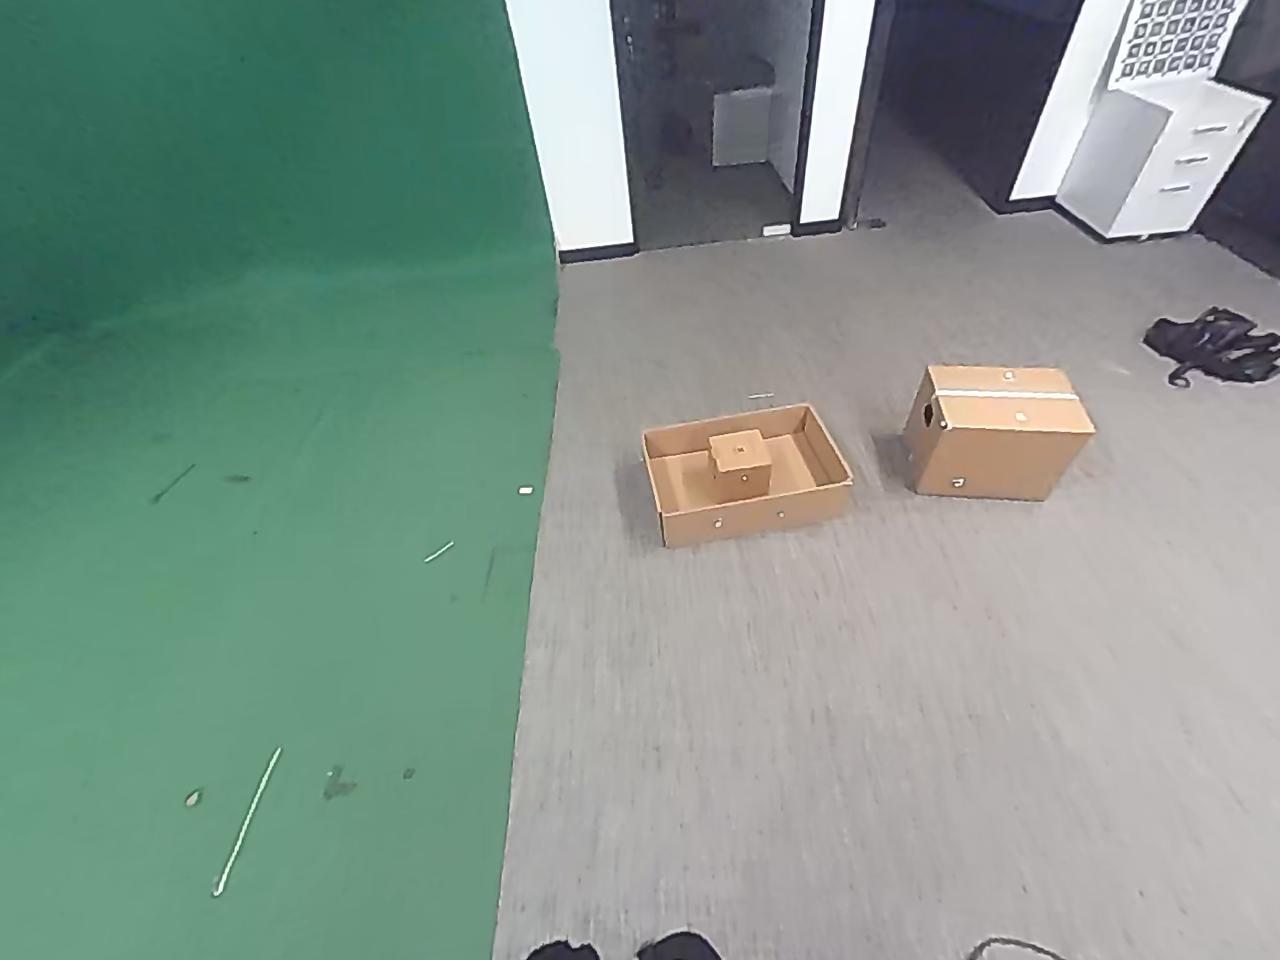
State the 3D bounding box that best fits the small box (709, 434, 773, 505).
[{"bbox_3d":[0.336,-0.032,1.829,0.179,0.176,0.168,-8,47,-2],"label":"small box"}]
